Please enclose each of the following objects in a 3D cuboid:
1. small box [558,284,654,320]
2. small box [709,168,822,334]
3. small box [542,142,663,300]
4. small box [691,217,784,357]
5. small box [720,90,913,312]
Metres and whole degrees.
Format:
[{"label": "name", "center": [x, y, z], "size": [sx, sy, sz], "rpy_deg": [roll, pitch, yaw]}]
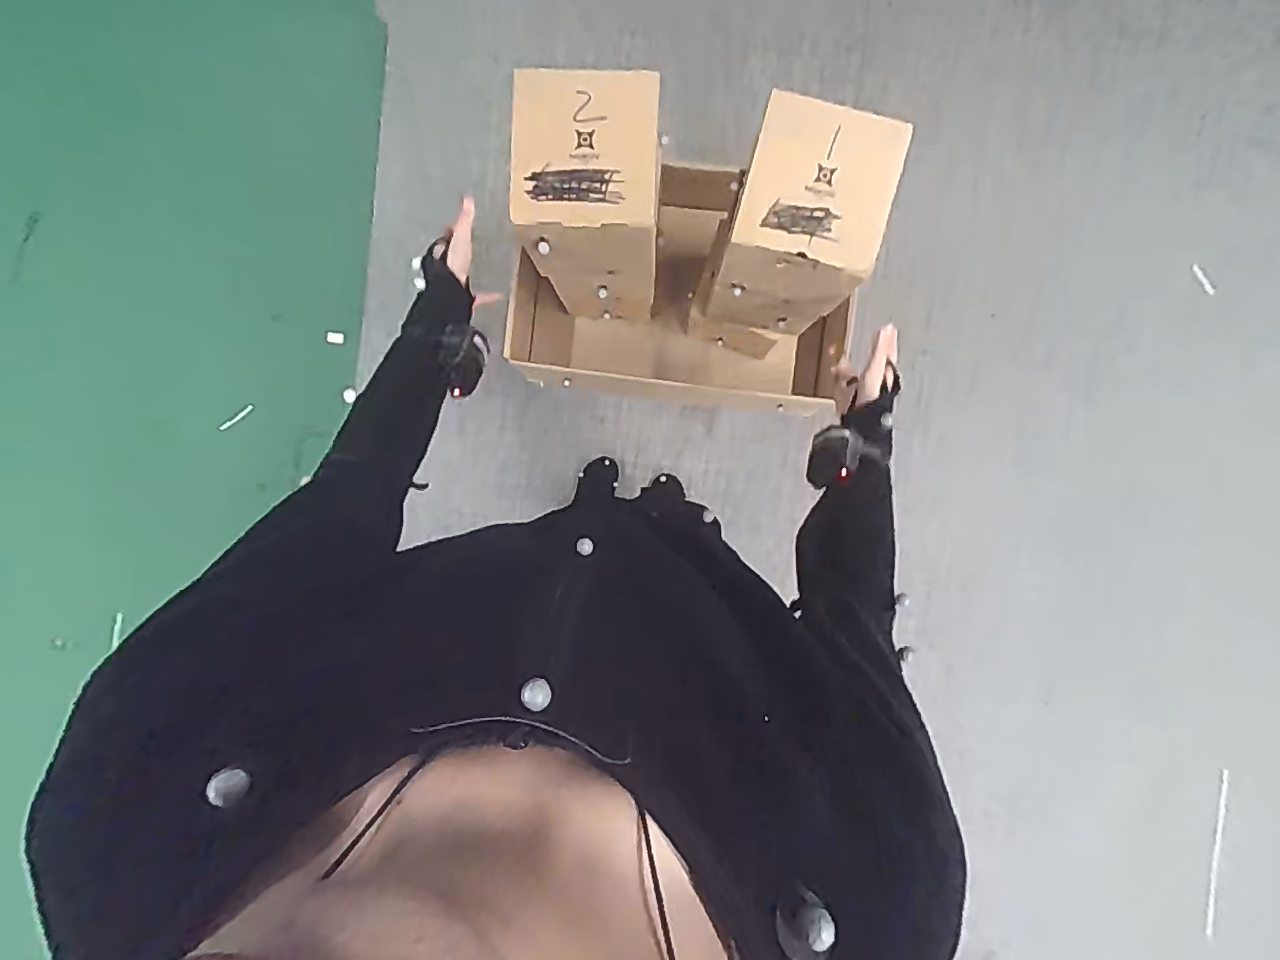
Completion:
[{"label": "small box", "center": [-0.053, -0.415, 1.014], "size": [0.168, 0.176, 0.179], "rpy_deg": [4, 93, 2]}, {"label": "small box", "center": [0.207, -0.342, 0.844], "size": [0.168, 0.176, 0.179], "rpy_deg": [13, 93, 1]}, {"label": "small box", "center": [-0.052, -0.394, 0.851], "size": [0.168, 0.176, 0.179], "rpy_deg": [4, 93, 1]}, {"label": "small box", "center": [0.196, -0.348, 1.007], "size": [0.168, 0.176, 0.179], "rpy_deg": [18, 93, 2]}, {"label": "small box", "center": [0.204, -0.331, 0.680], "size": [0.168, 0.176, 0.179], "rpy_deg": [16, 92, 1]}]
